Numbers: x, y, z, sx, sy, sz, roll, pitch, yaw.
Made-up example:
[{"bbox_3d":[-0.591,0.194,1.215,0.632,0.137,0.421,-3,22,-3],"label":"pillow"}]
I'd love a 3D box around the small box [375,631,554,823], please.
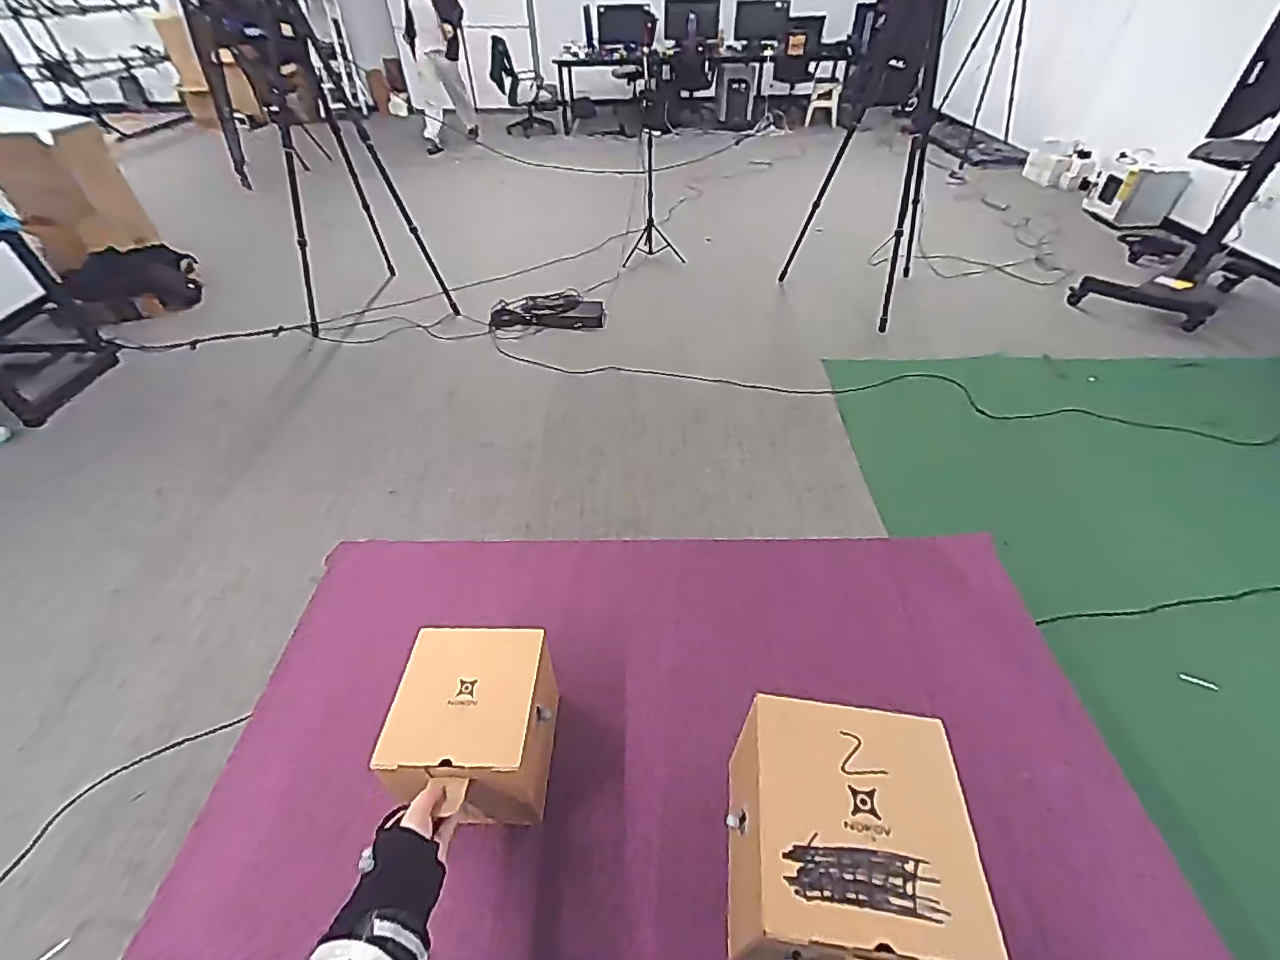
[{"bbox_3d":[-0.211,0.321,0.709,0.168,0.176,0.179,0,41,1],"label":"small box"}]
